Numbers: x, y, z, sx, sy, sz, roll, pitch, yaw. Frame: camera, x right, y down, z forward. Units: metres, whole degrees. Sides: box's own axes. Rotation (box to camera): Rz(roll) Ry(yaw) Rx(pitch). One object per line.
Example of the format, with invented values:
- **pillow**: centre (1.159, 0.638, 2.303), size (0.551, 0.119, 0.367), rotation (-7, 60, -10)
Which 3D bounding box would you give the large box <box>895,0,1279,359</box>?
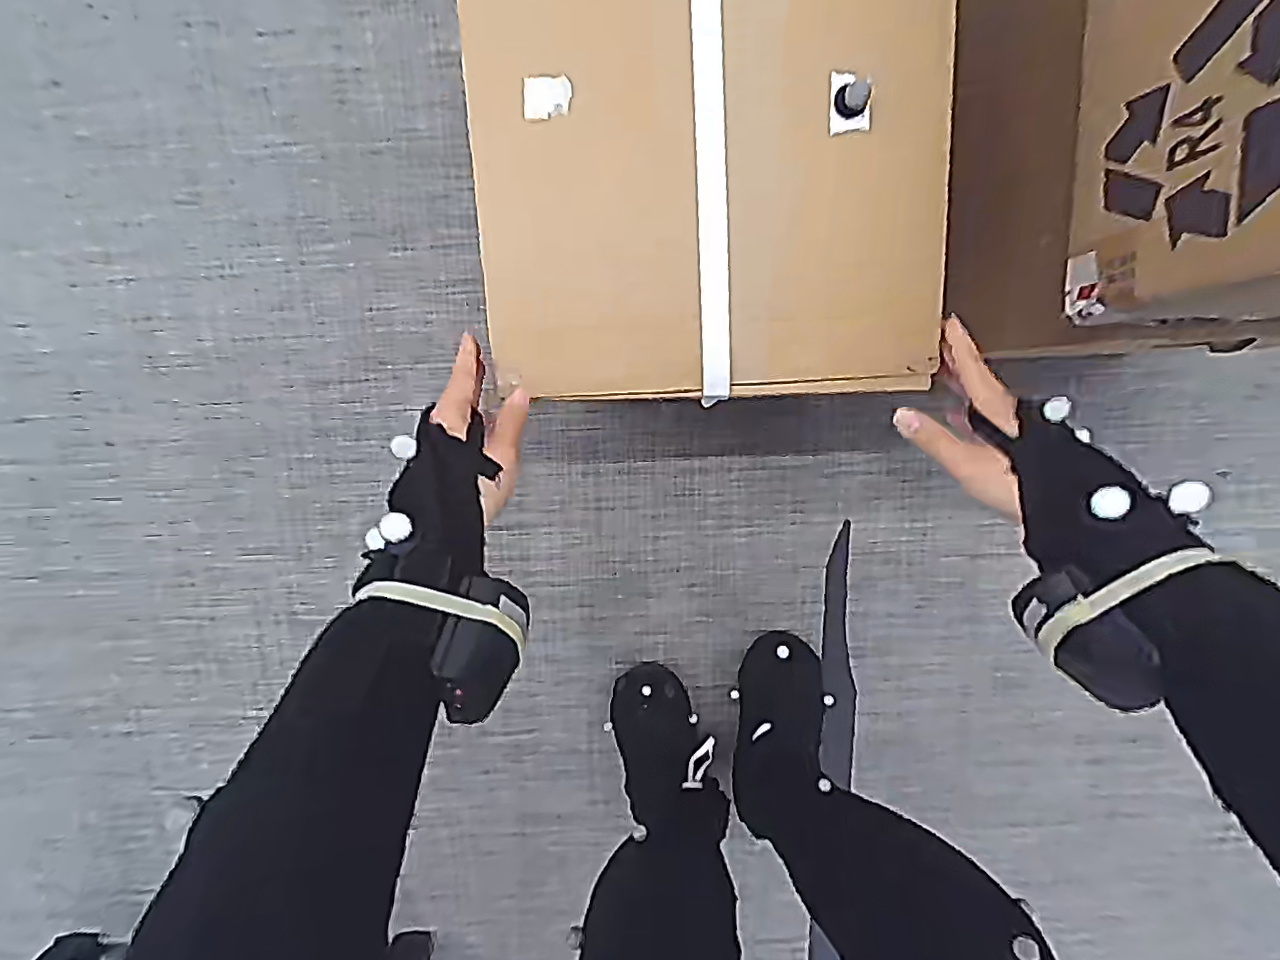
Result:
- **large box**: centre (0.455, -0.329, 0.495), size (0.320, 0.320, 0.408), rotation (-3, 100, 1)
